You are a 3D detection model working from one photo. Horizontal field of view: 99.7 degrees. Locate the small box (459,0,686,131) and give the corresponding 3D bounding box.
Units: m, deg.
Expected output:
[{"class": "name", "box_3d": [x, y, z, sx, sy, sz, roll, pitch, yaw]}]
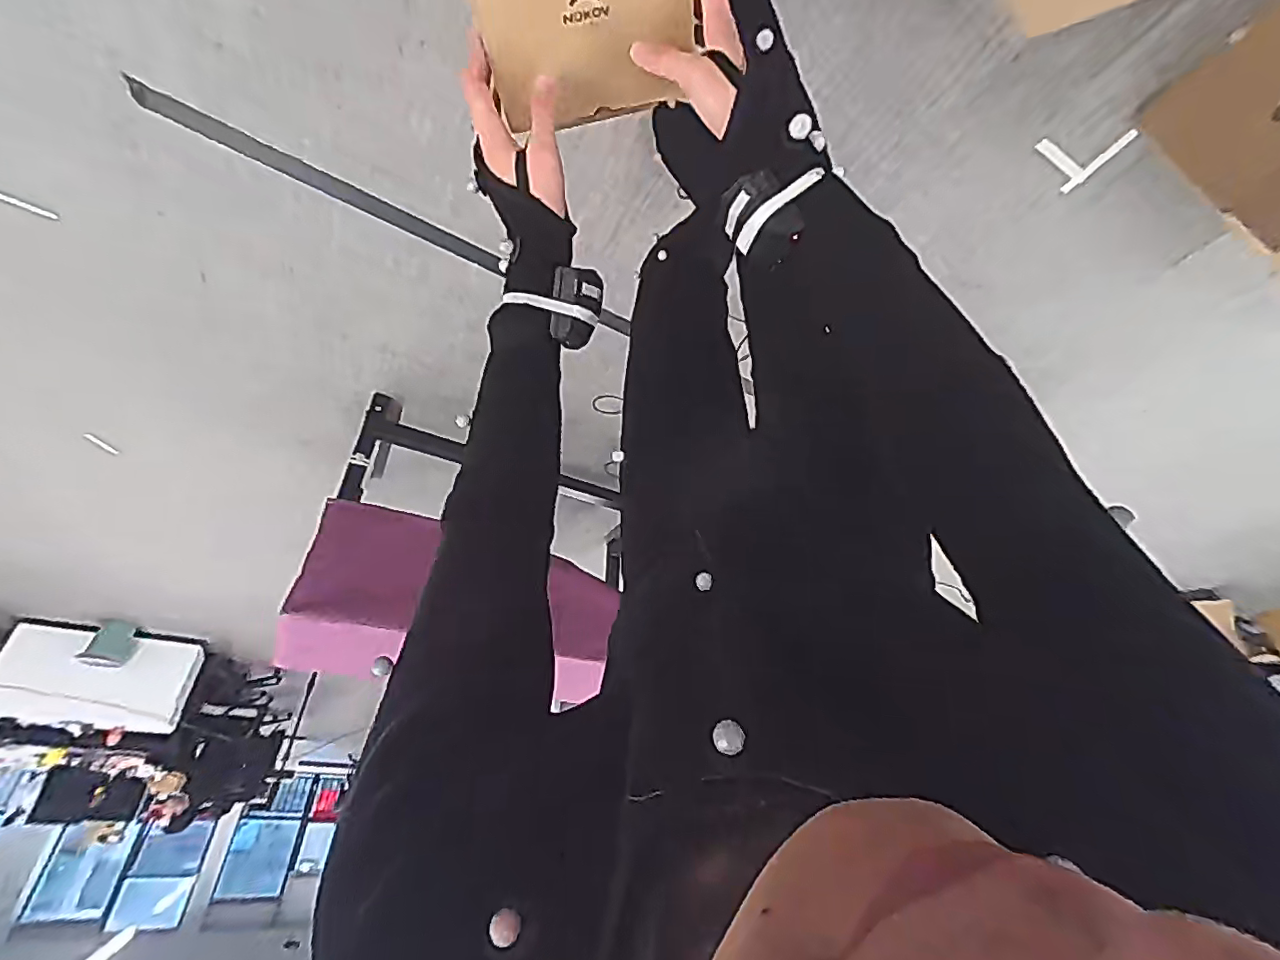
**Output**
[{"class": "small box", "box_3d": [-0.062, -0.421, 0.420, 0.168, 0.176, 0.179, -13, 152, 0]}]
